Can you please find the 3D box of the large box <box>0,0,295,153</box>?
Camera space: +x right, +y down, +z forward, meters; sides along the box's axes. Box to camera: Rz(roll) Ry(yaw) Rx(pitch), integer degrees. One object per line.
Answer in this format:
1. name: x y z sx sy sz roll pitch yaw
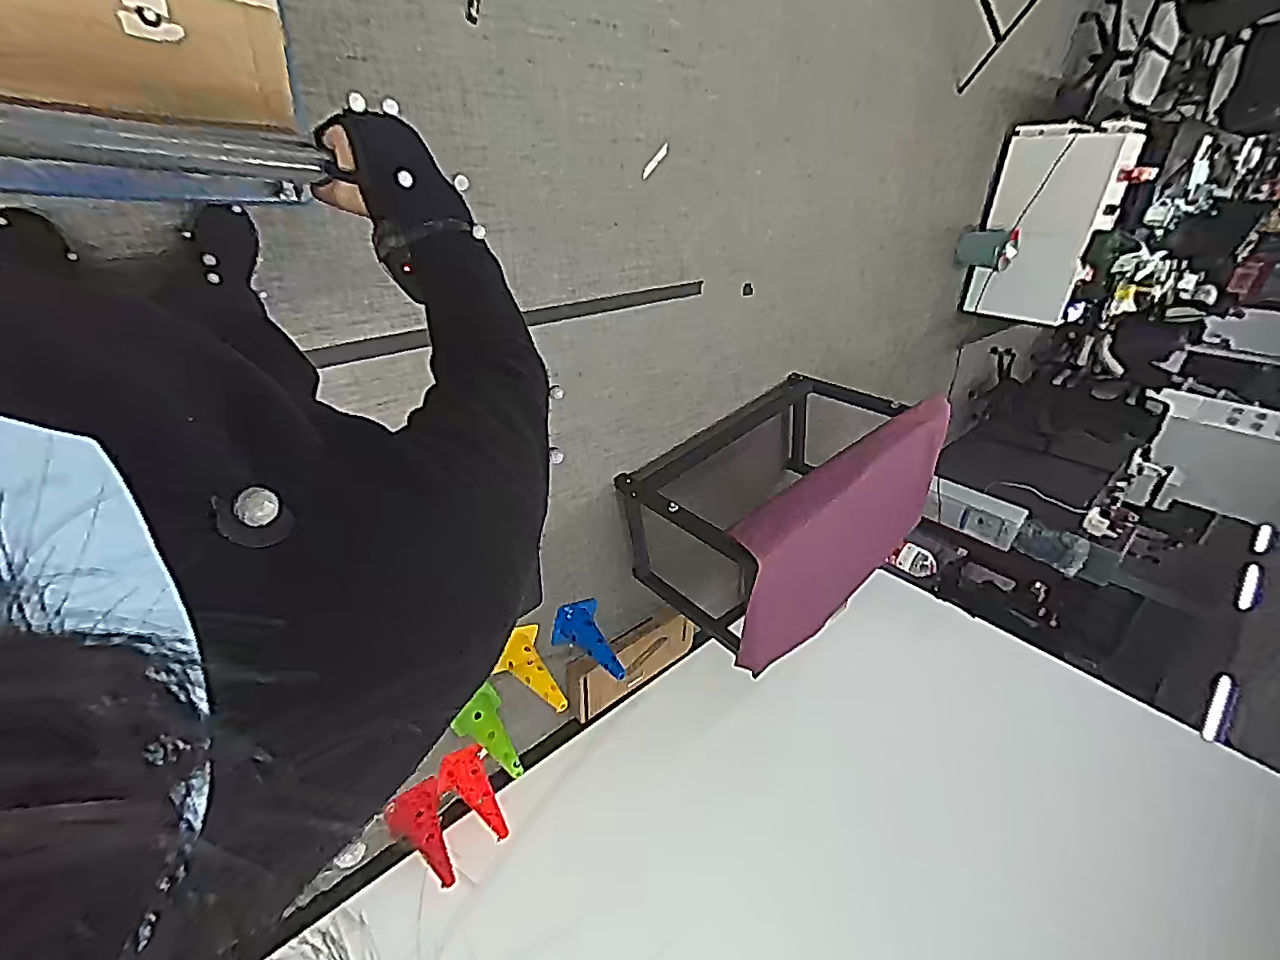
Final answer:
1. large box: -0.728 -0.615 0.677 0.408 0.320 0.320 -18 124 -38
